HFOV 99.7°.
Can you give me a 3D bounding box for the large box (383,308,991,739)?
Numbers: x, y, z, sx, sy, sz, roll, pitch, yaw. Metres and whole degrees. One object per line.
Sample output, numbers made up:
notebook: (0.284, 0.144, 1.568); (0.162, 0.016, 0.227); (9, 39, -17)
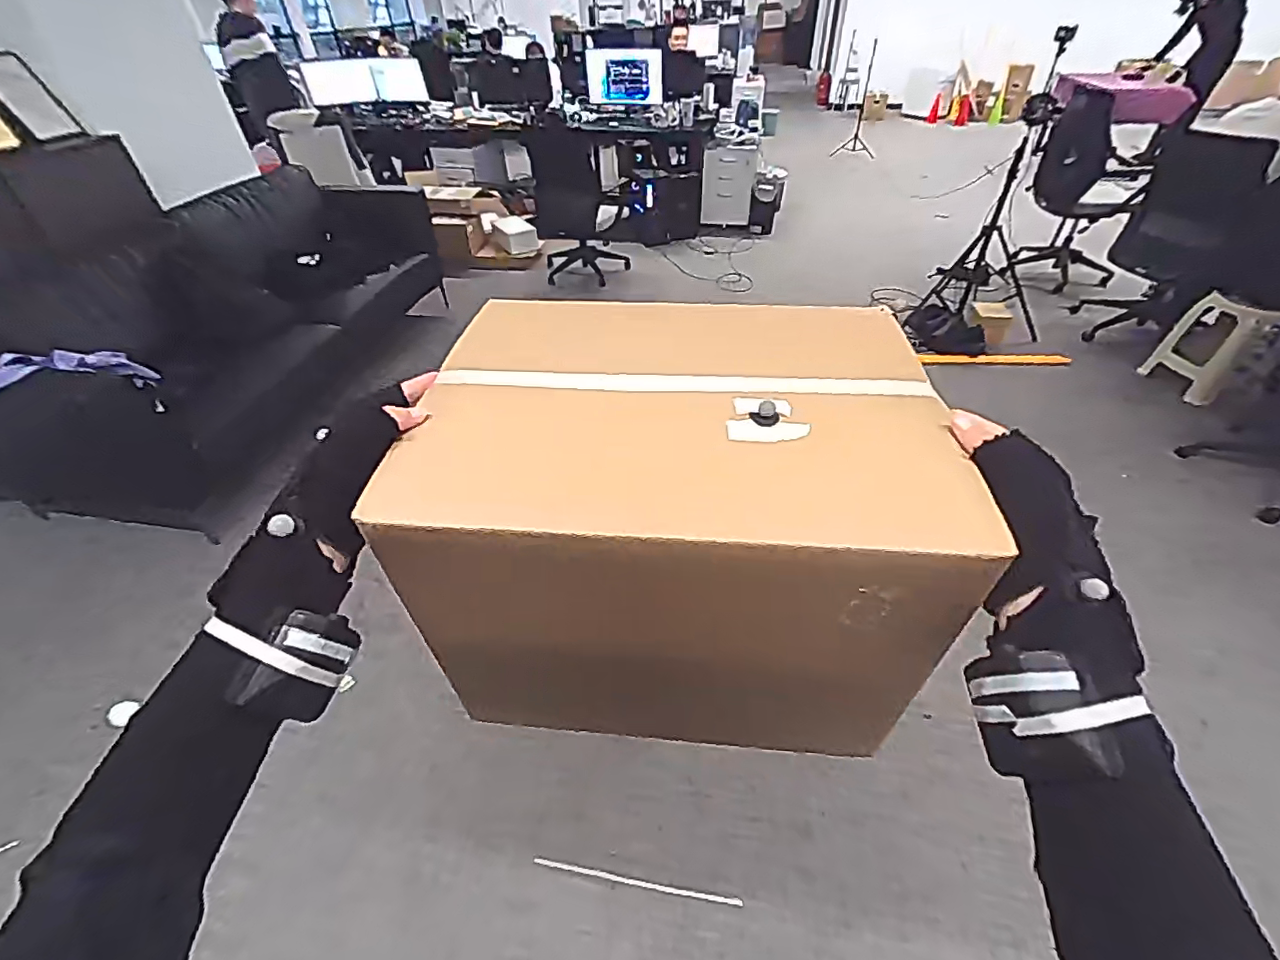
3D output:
large box: (0.036, 0.038, 0.556); (0.408, 0.320, 0.320); (4, 44, 5)
